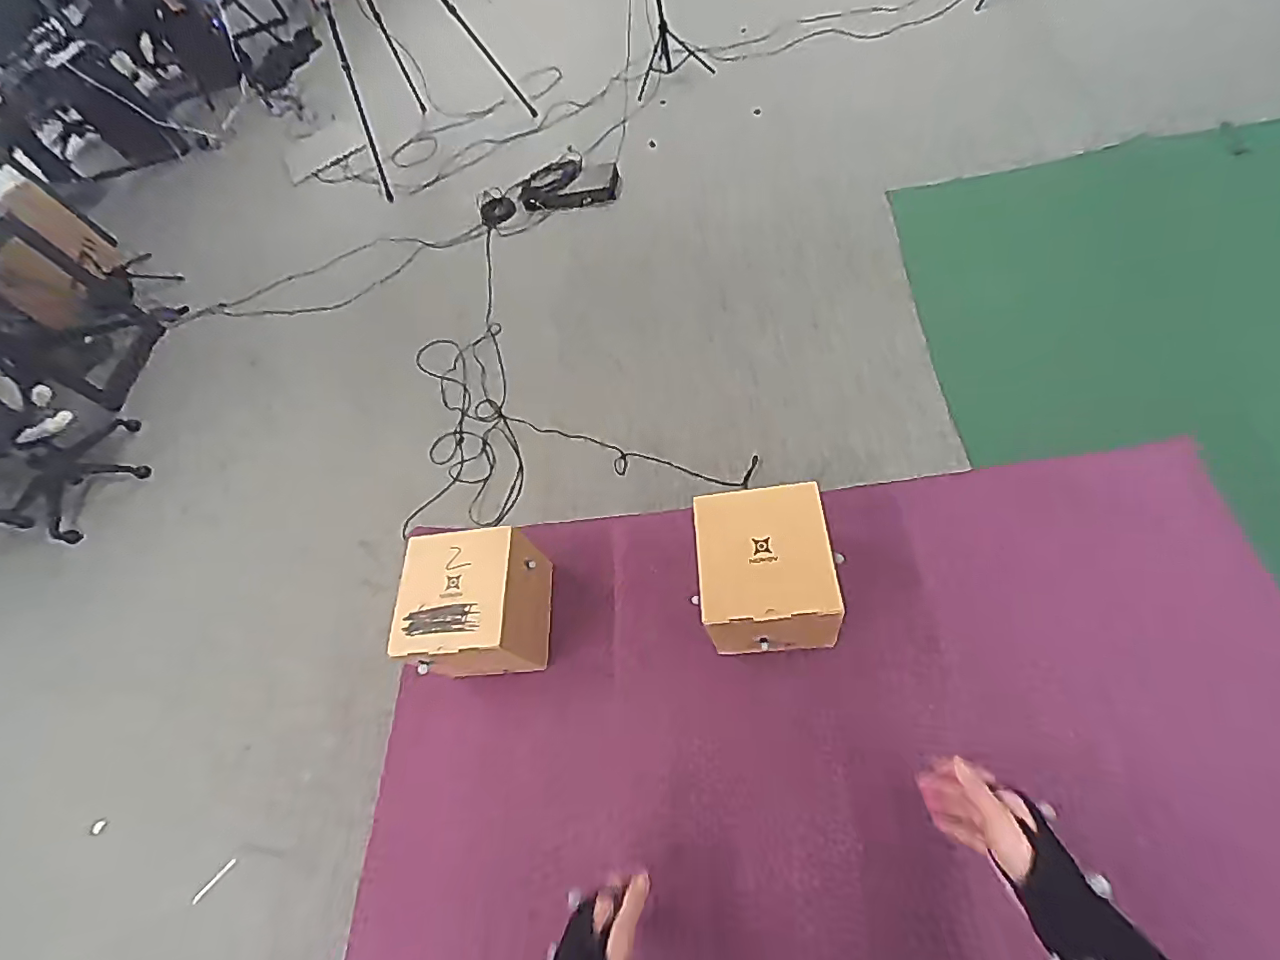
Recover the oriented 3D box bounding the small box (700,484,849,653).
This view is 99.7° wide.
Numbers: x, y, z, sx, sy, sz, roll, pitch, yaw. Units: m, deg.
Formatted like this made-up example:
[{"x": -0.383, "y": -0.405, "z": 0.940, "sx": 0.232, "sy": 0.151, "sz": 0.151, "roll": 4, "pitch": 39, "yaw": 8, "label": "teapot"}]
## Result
[{"x": 0.175, "y": 0.127, "z": 0.739, "sx": 0.168, "sy": 0.176, "sz": 0.179, "roll": -7, "pitch": 60, "yaw": 10, "label": "small box"}]
